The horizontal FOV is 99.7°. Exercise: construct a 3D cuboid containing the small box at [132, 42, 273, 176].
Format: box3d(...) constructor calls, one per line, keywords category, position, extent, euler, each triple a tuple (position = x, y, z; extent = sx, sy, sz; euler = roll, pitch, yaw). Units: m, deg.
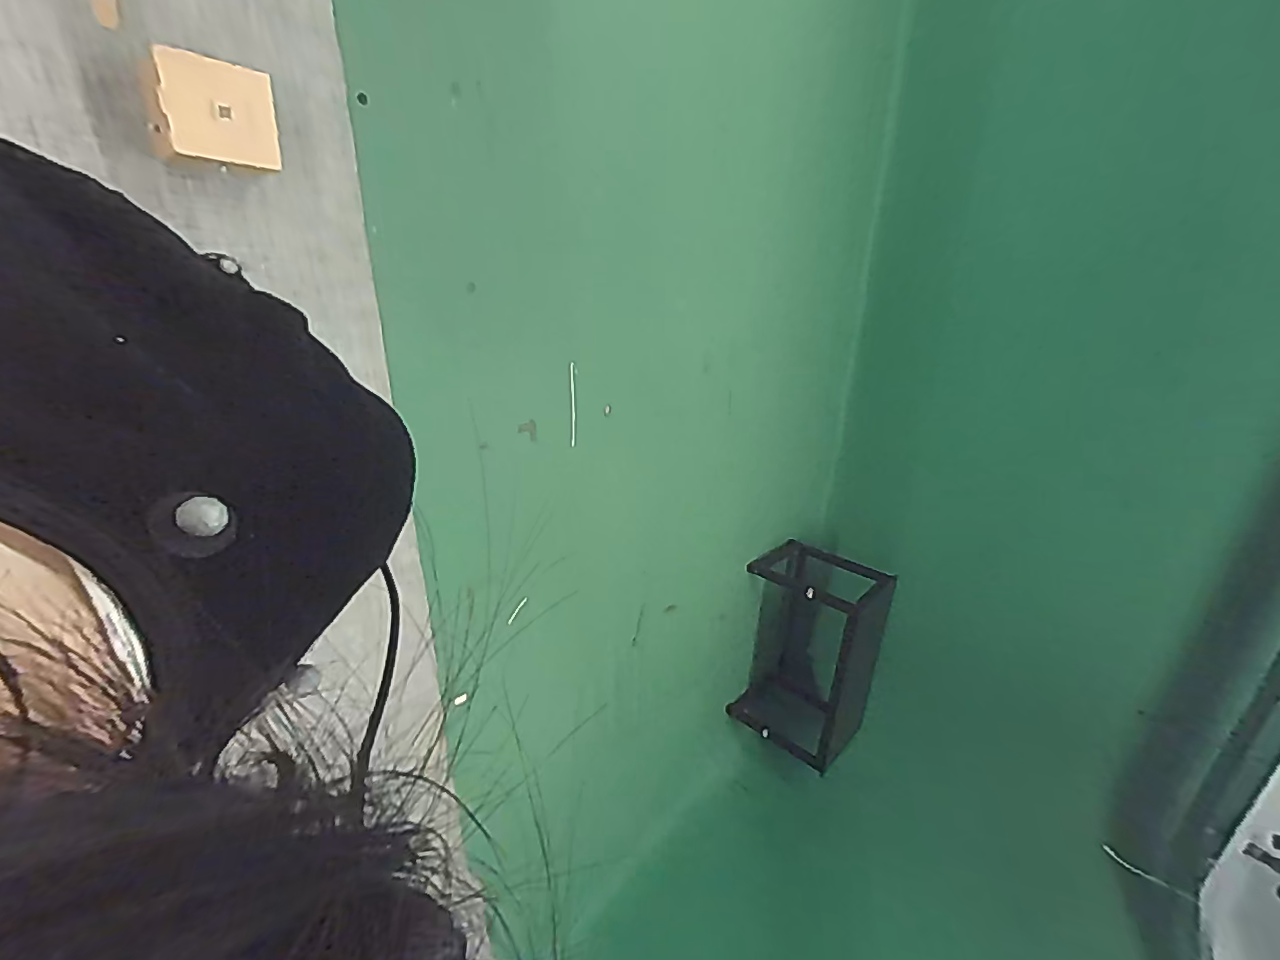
box3d(category="small box", position=(-0.842, -0.697, 1.041), extent=(0.179, 0.176, 0.168), euler=(-17, 119, -46))
